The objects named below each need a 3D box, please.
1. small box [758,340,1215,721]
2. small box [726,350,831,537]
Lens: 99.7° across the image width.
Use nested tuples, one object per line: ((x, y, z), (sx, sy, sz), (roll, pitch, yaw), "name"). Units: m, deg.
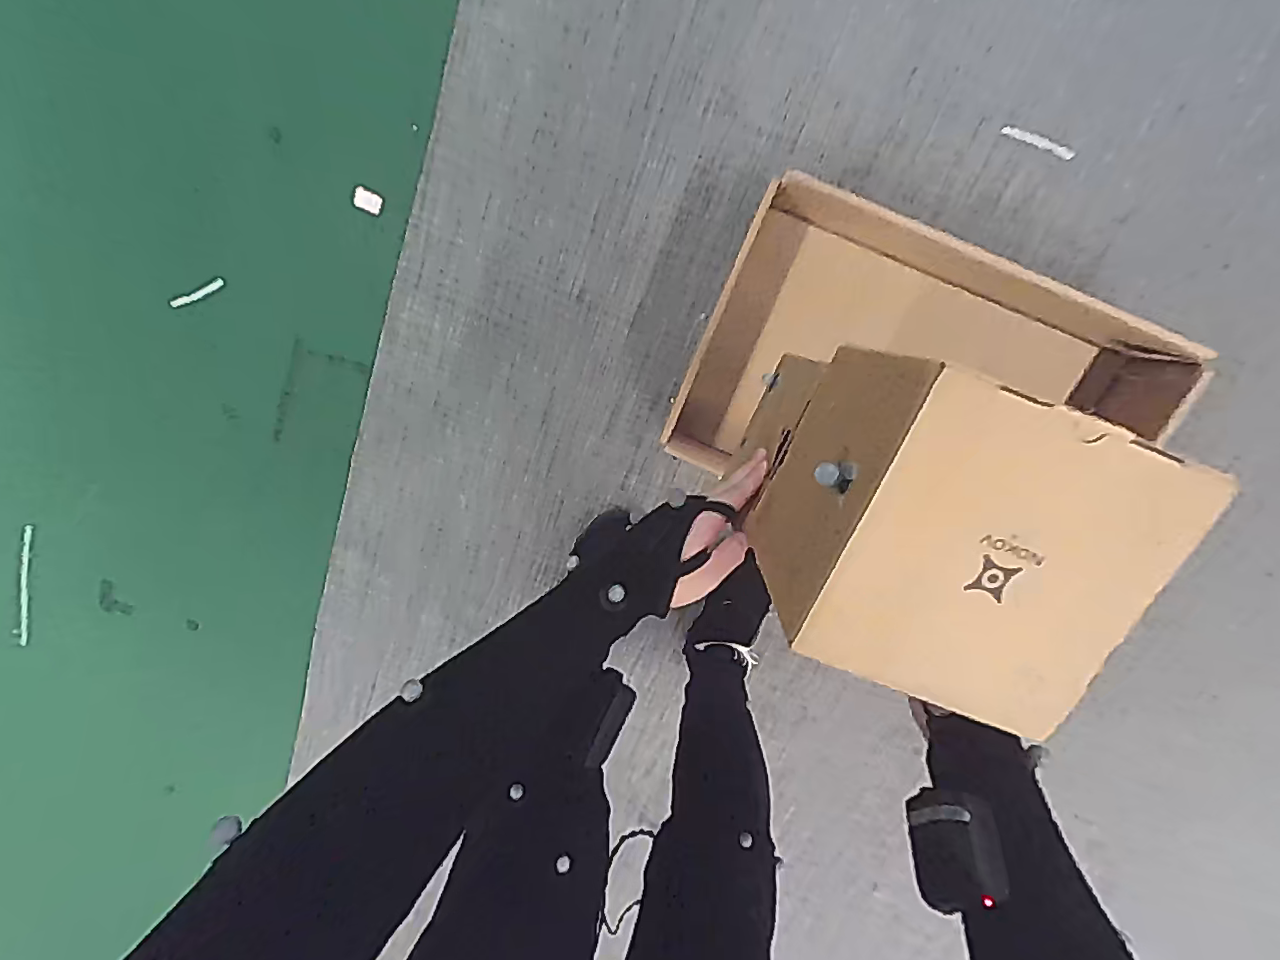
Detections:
((0.192, 0.017, 0.371), (0.168, 0.176, 0.179), (21, 107, -2), "small box")
((0.198, -0.019, 0.529), (0.179, 0.176, 0.168), (22, 107, -4), "small box")
